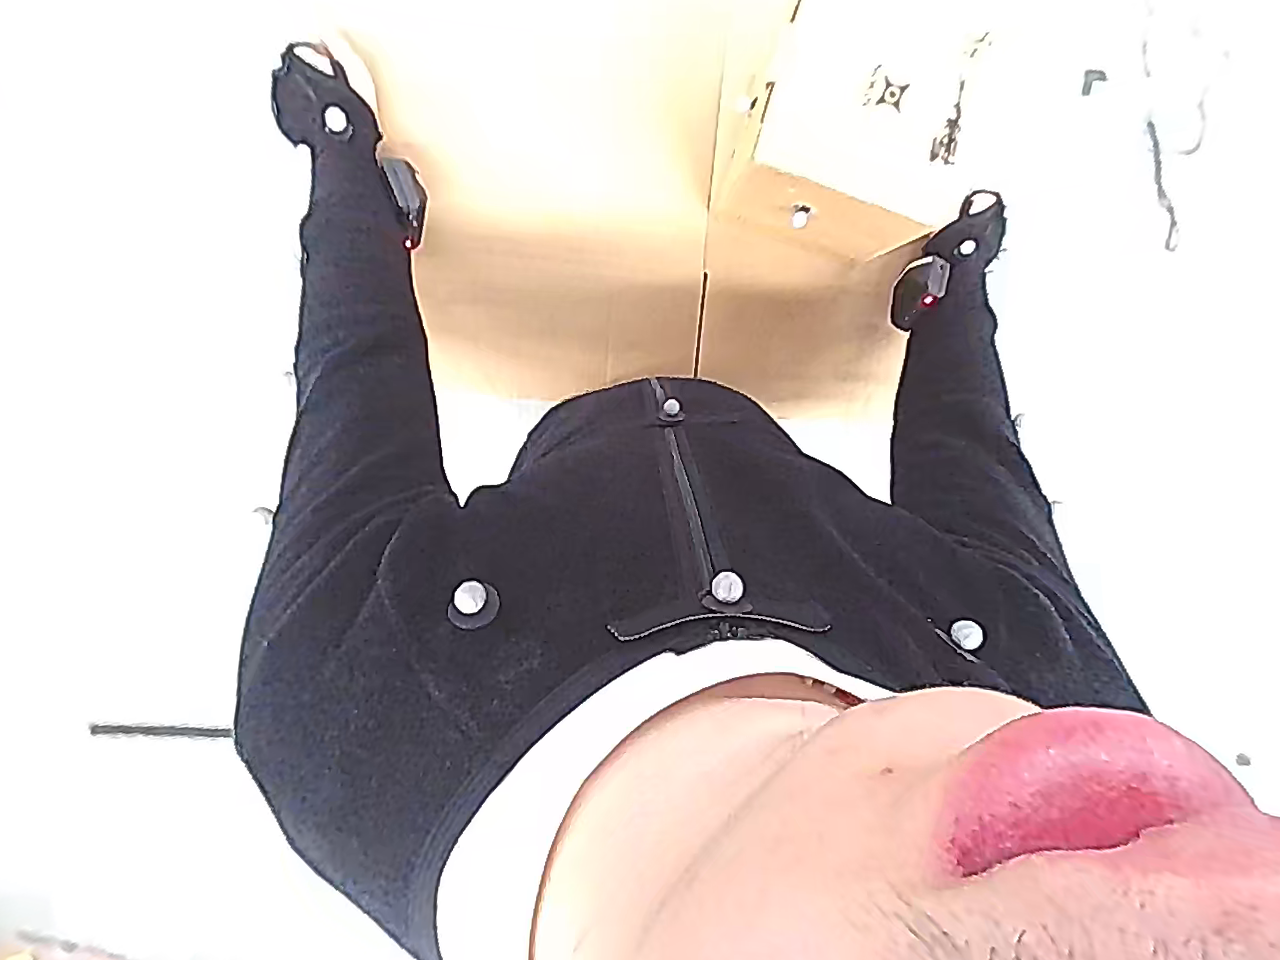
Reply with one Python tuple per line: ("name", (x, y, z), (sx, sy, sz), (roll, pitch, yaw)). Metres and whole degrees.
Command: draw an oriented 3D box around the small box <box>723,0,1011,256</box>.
("small box", (0.193, -0.337, 0.523), (0.179, 0.176, 0.168), (17, 100, -5))
